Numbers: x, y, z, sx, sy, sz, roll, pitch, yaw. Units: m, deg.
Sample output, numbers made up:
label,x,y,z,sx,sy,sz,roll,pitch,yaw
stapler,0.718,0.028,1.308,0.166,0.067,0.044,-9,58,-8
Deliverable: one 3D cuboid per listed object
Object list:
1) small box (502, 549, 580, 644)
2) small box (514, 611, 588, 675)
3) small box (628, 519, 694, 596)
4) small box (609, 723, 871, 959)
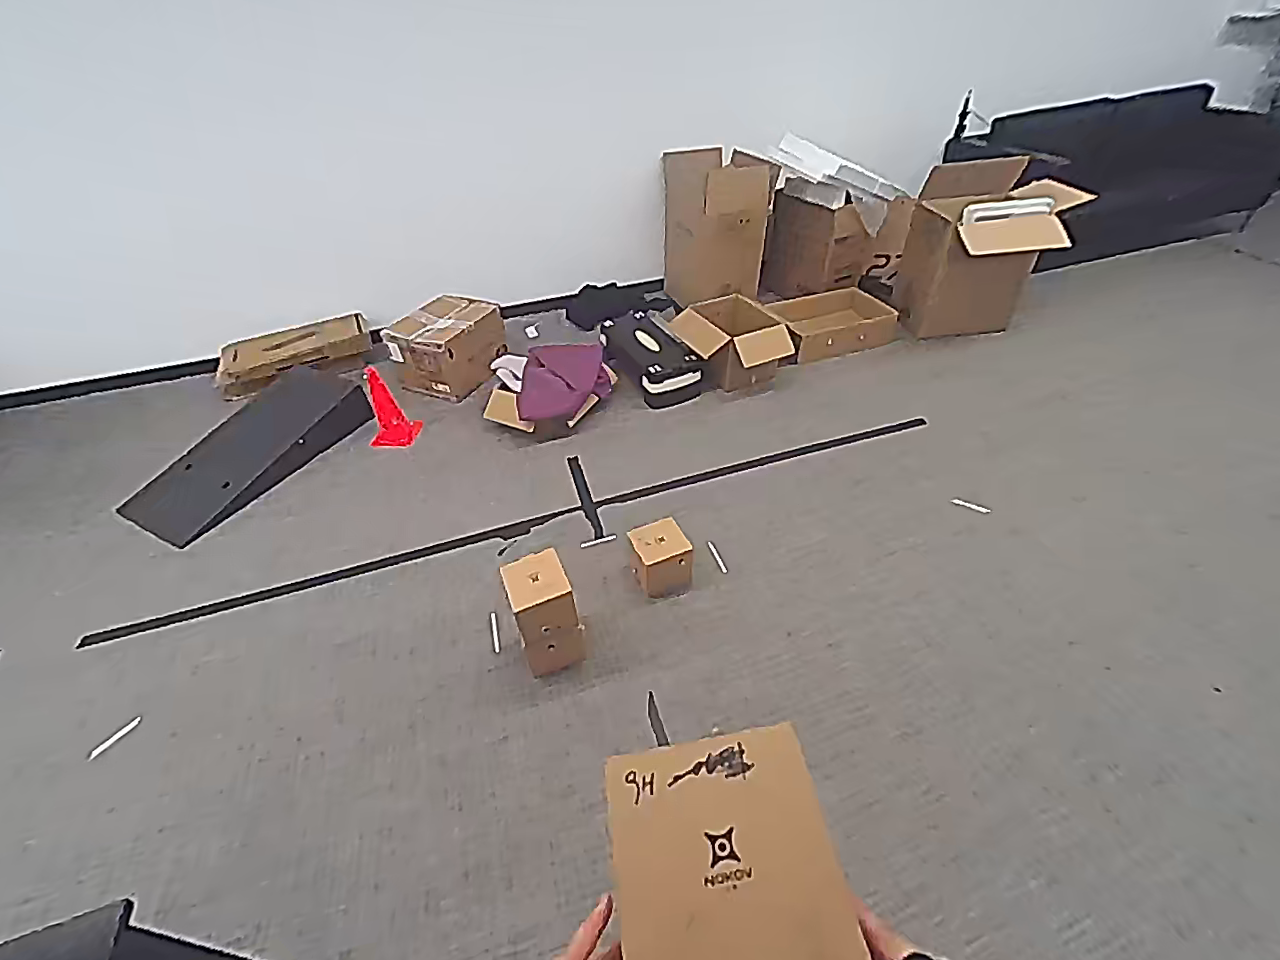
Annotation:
label,x,y,z,sx,sy,sz,roll,pitch,yaw
small box,-0.283,0.336,1.552,0.168,0.176,0.179,-20,45,-15
small box,-0.271,0.464,1.652,0.179,0.176,0.168,-16,43,-14
small box,0.070,0.266,1.852,0.179,0.176,0.168,-18,43,-16
small box,0.076,0.336,0.464,0.168,0.176,0.179,-11,48,-1
